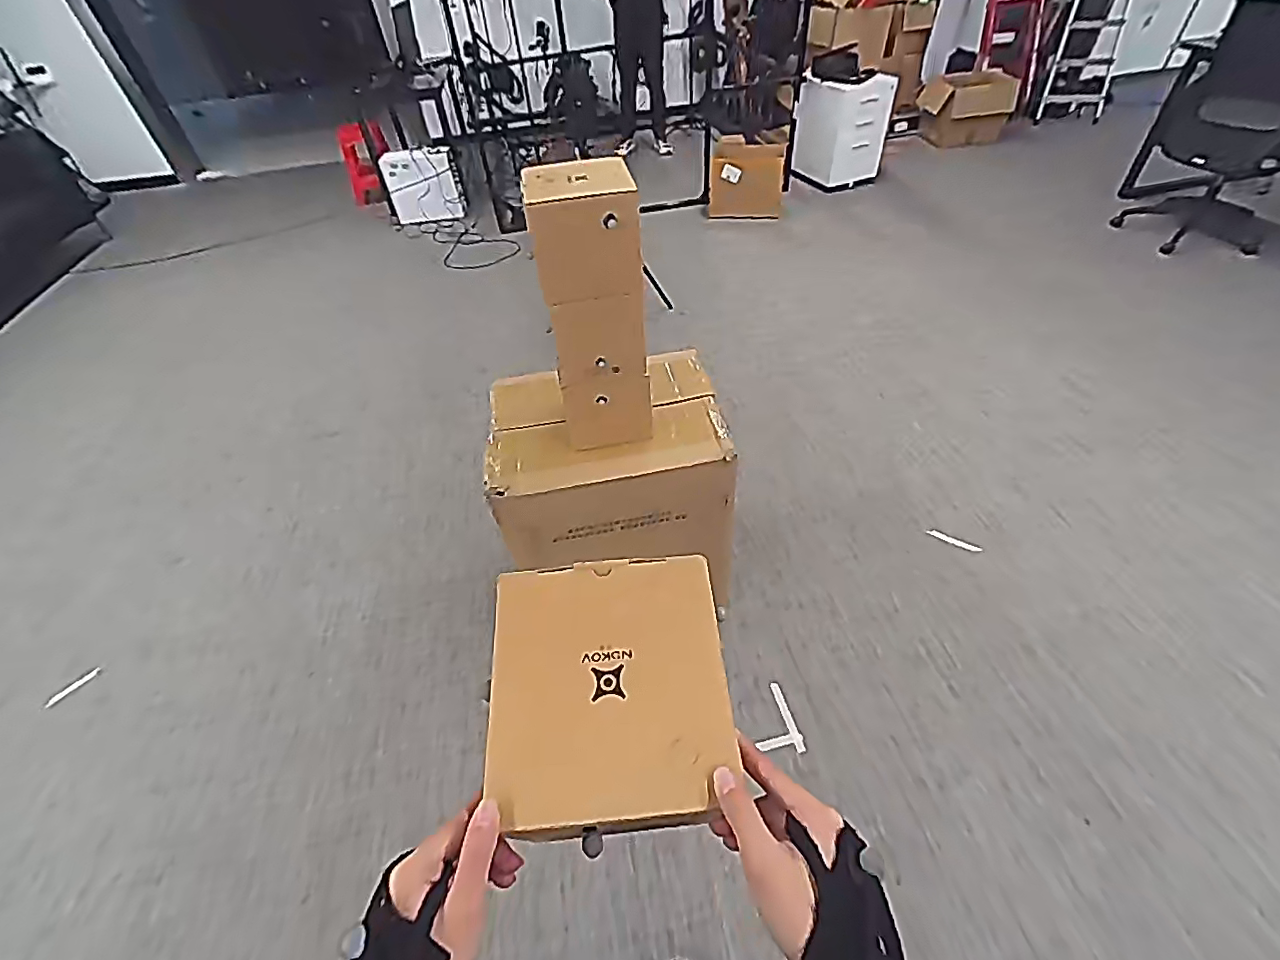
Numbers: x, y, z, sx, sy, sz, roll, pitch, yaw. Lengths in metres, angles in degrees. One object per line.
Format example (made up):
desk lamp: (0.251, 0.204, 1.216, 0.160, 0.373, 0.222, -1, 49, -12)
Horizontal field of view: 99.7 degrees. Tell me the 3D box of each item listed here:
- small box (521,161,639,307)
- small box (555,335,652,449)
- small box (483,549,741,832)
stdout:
small box: (-0.098, -0.417, 0.921, 0.179, 0.176, 0.168, -10, 46, -4)
small box: (-0.077, -0.184, 1.153, 0.179, 0.176, 0.168, -10, 46, -5)
small box: (-0.019, 0.179, 0.445, 0.168, 0.176, 0.179, -6, 53, -1)
